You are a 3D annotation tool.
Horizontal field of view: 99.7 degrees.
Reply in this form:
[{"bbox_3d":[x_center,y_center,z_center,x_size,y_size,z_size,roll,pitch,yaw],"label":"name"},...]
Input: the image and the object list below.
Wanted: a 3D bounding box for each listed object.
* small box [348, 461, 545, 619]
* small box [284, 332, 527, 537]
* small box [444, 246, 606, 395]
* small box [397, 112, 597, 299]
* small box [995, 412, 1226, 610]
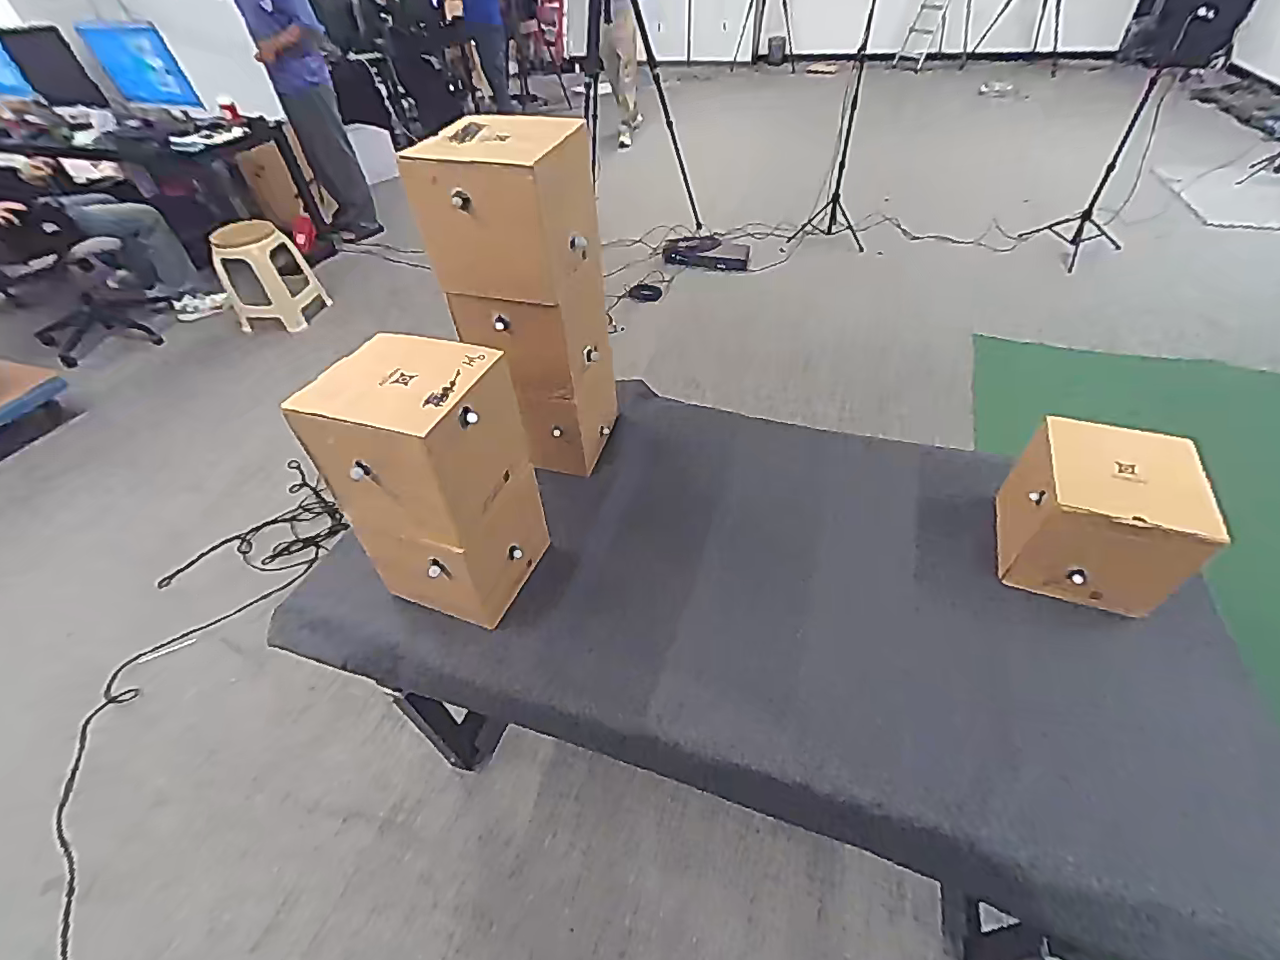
[{"bbox_3d":[-0.249,0.067,0.749,0.179,0.176,0.168,14,46,16],"label":"small box"},{"bbox_3d":[-0.256,-0.054,0.638,0.179,0.176,0.168,11,46,14],"label":"small box"},{"bbox_3d":[-0.162,-0.250,0.828,0.179,0.176,0.168,10,50,11],"label":"small box"},{"bbox_3d":[-0.169,-0.354,0.701,0.179,0.176,0.168,12,50,13],"label":"small box"},{"bbox_3d":[0.600,0.041,0.722,0.168,0.176,0.179,14,50,17],"label":"small box"}]
